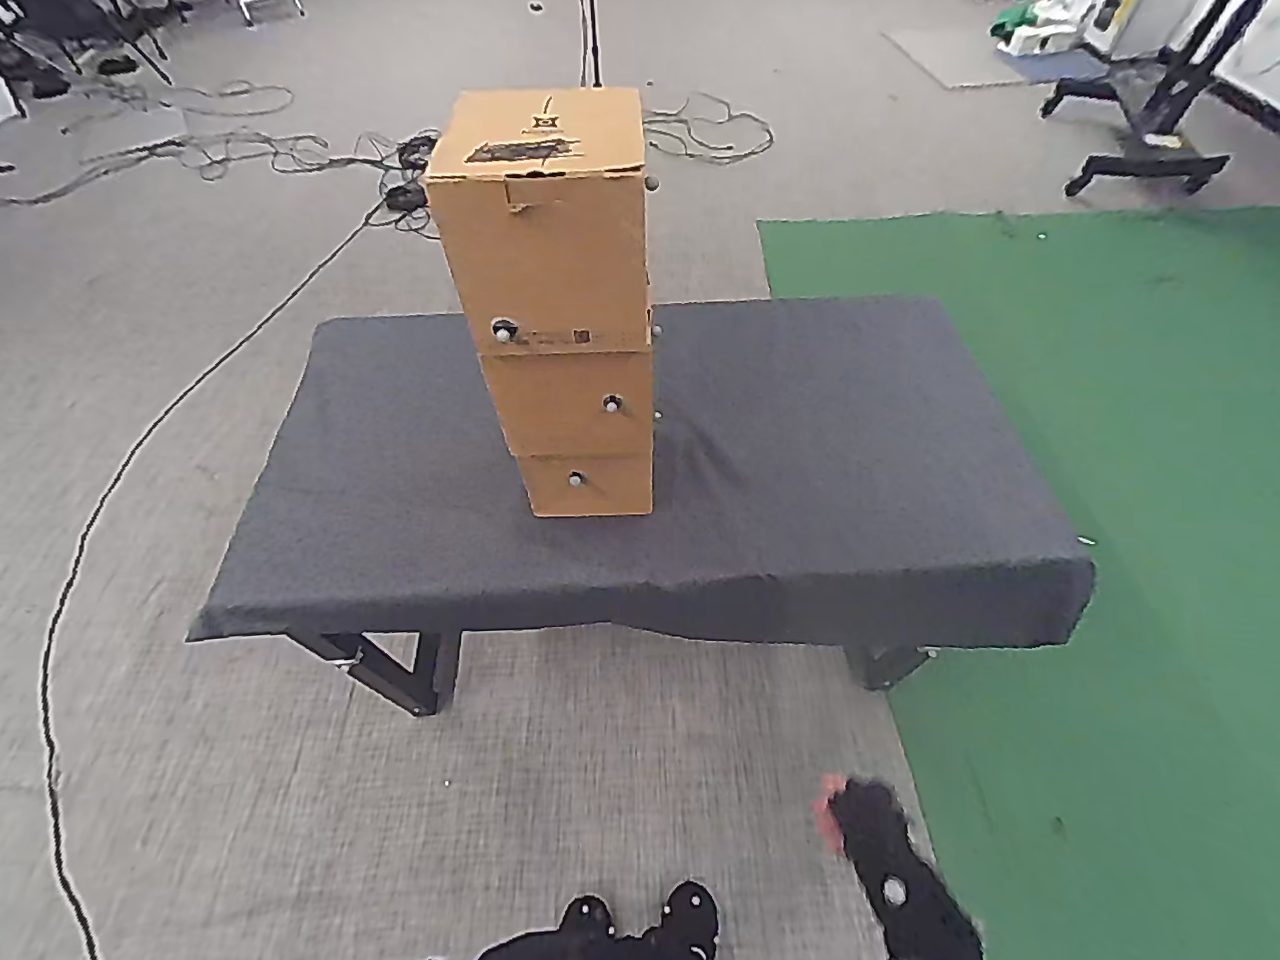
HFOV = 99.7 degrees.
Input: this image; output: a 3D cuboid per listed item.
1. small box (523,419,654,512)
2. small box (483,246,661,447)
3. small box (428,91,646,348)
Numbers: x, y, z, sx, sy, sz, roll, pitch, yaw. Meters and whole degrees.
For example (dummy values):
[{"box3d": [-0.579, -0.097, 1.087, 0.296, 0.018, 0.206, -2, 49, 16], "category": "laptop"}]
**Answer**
[{"box3d": [-0.072, -0.065, 0.795, 0.179, 0.176, 0.168, -4, 53, -2], "category": "small box"}, {"box3d": [-0.073, -0.154, 0.636, 0.179, 0.176, 0.168, -4, 54, -3], "category": "small box"}, {"box3d": [-0.079, -0.241, 0.516, 0.168, 0.176, 0.179, -2, 53, -1], "category": "small box"}]
